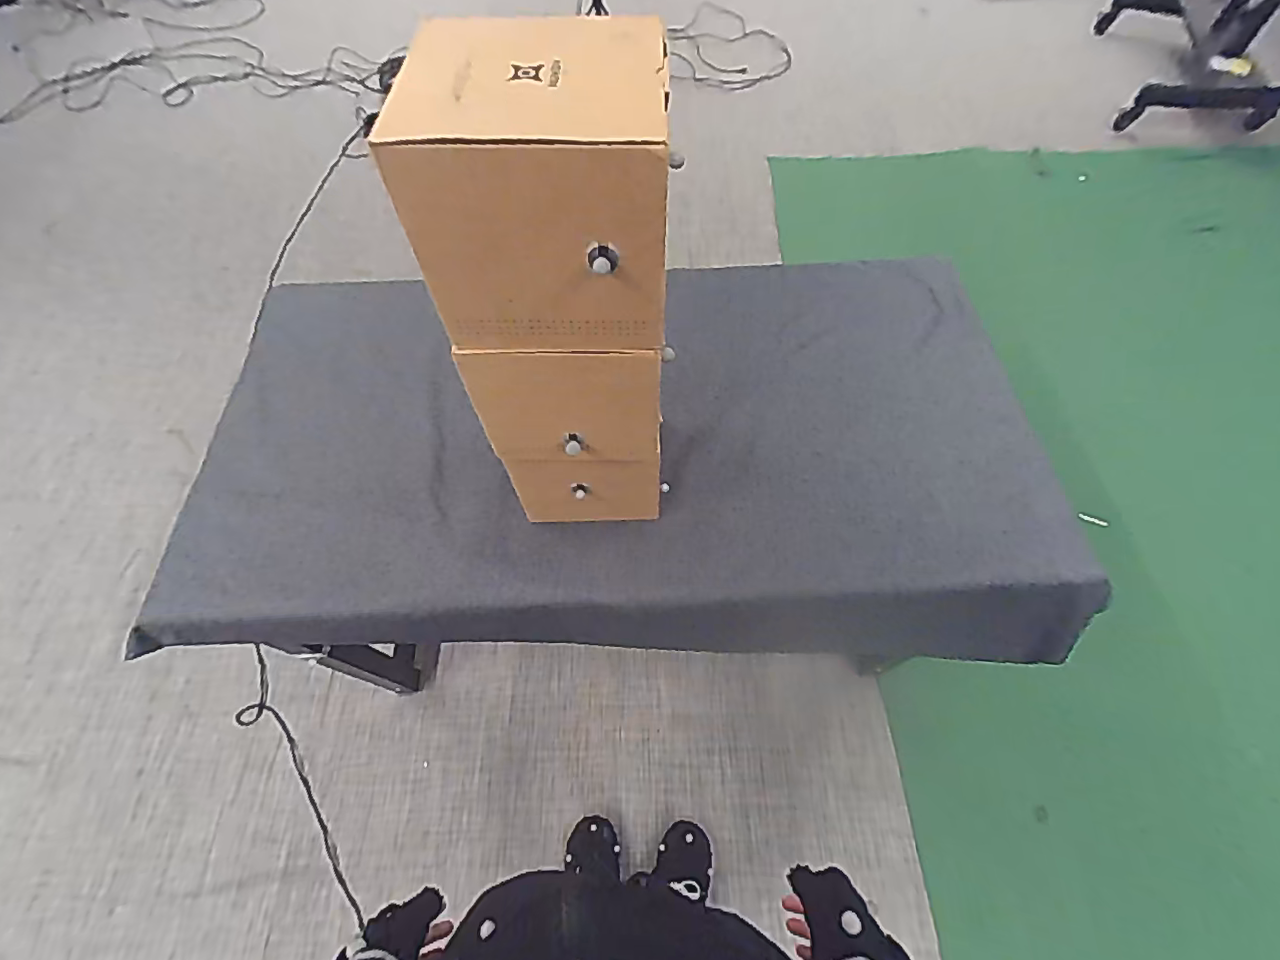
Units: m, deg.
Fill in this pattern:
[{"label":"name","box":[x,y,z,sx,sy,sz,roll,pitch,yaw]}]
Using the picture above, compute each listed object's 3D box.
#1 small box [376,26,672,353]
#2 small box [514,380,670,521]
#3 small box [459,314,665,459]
[{"label":"small box","box":[-0.067,-0.216,0.424,0.179,0.176,0.168,-1,59,2]},{"label":"small box","box":[-0.060,-0.057,0.708,0.179,0.176,0.168,-4,61,-2]},{"label":"small box","box":[-0.066,-0.133,0.564,0.179,0.176,0.168,0,60,1]}]
